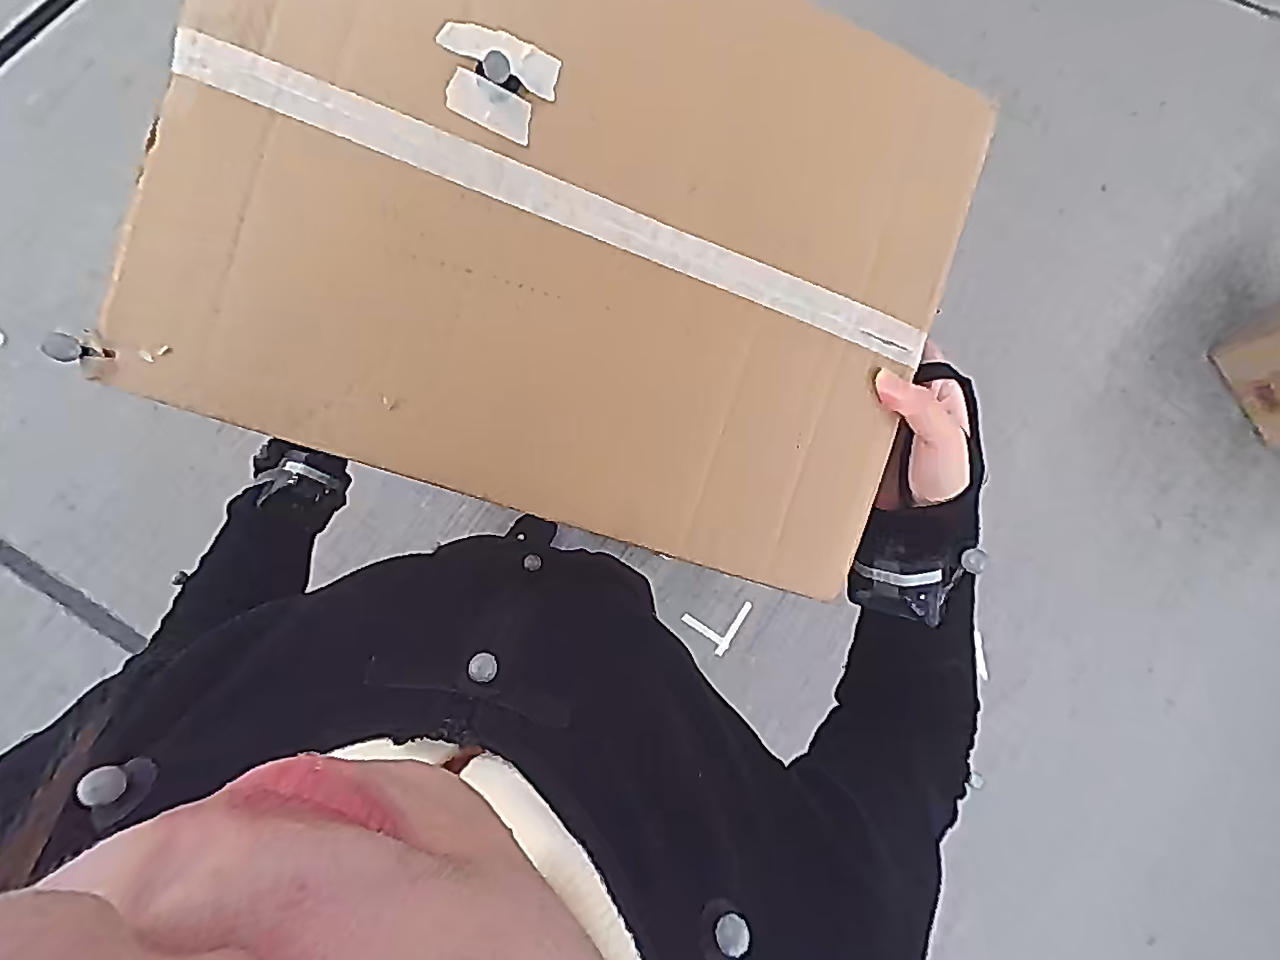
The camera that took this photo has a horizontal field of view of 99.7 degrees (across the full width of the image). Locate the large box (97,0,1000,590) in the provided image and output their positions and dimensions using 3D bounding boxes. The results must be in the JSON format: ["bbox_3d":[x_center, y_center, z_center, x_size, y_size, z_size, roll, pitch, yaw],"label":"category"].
[{"bbox_3d":[-0.045,-0.144,0.425,0.408,0.320,0.320,17,91,-9],"label":"large box"}]
